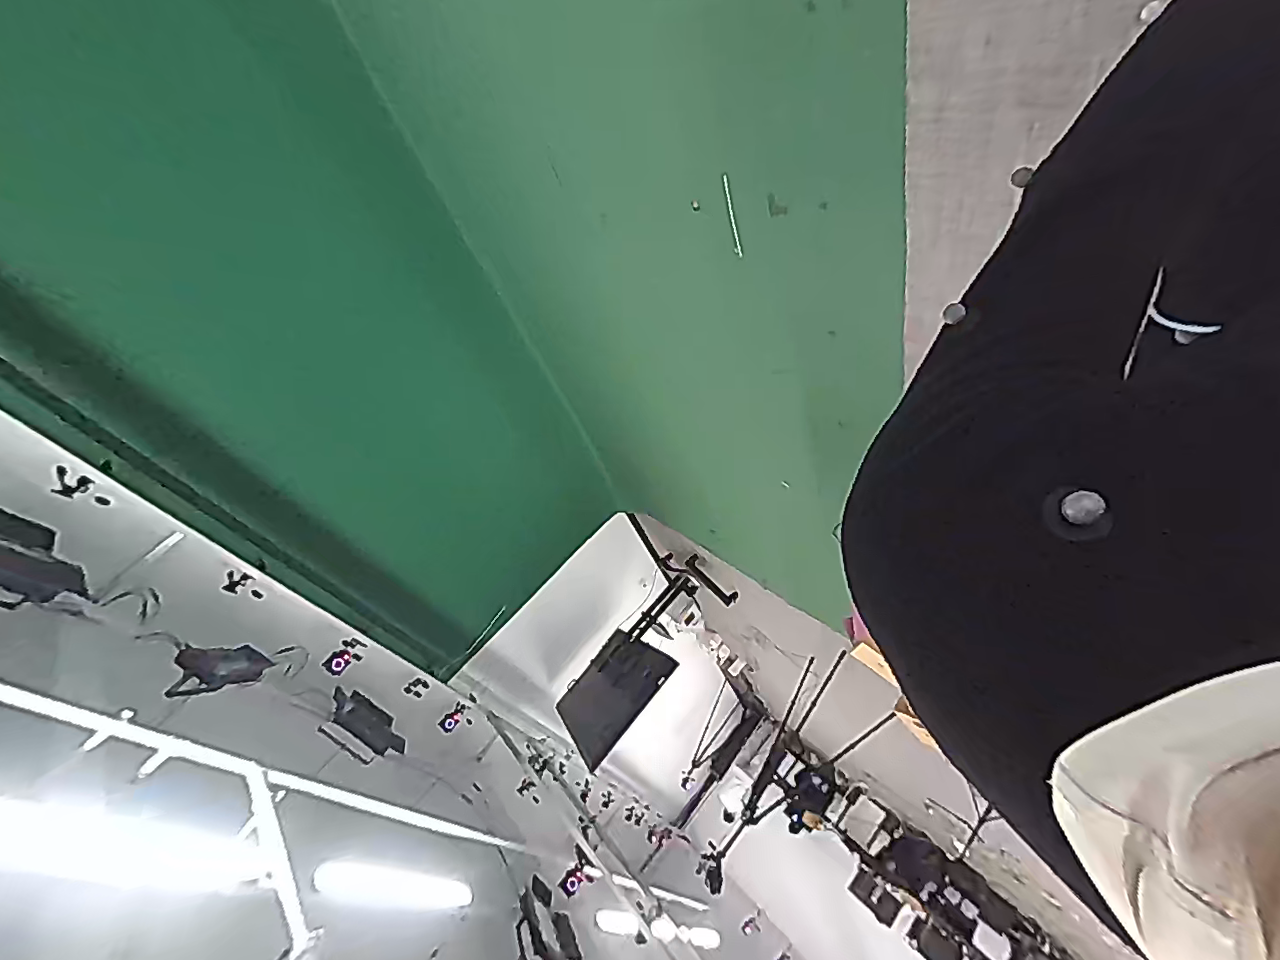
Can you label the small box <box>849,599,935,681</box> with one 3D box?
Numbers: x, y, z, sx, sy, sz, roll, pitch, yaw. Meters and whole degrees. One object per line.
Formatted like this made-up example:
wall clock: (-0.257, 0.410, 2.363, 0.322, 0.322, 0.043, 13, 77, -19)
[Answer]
small box: (0.784, 0.494, 1.681, 0.168, 0.176, 0.179, 35, 163, 22)
